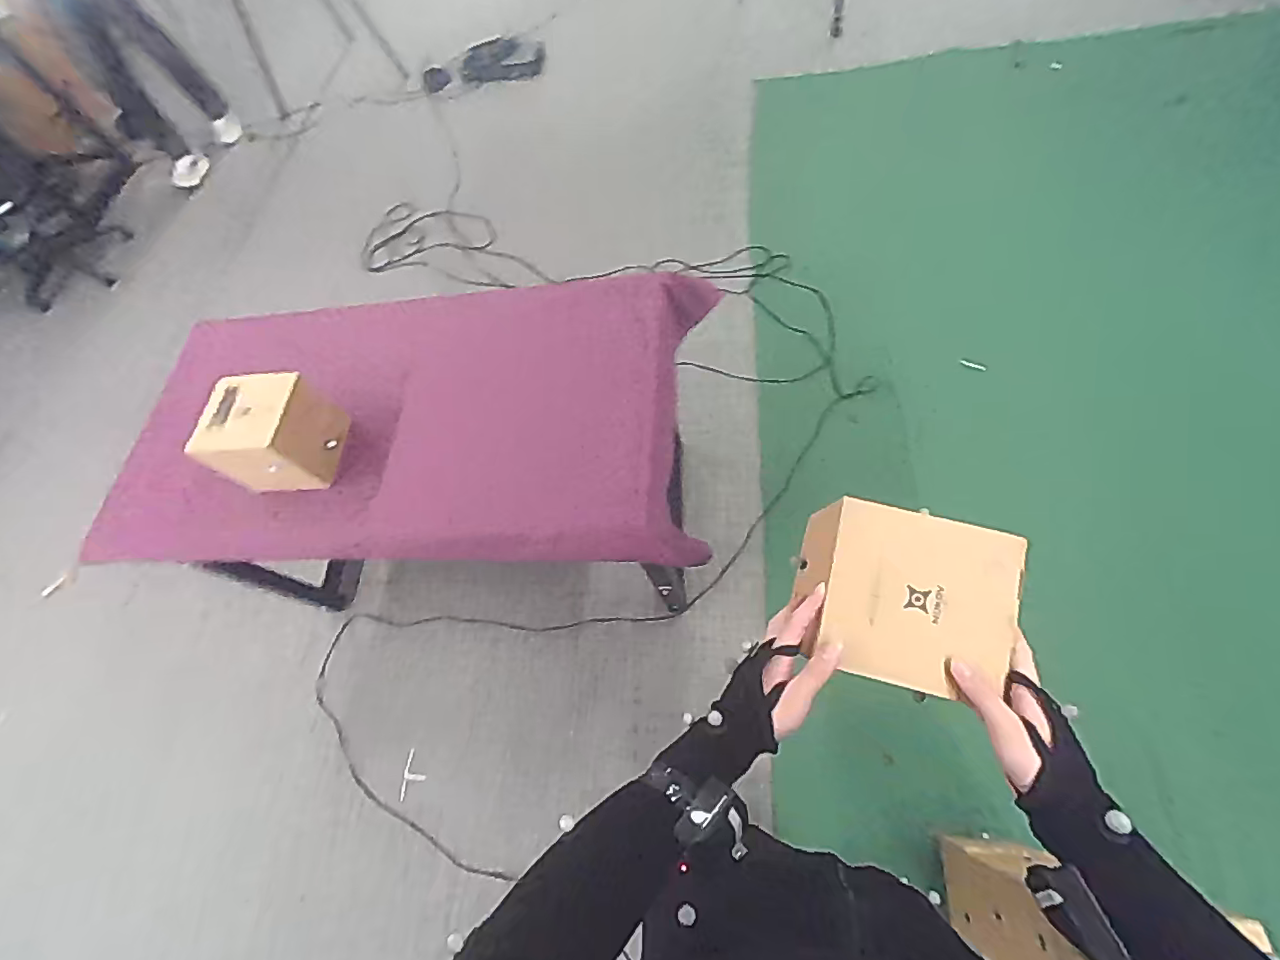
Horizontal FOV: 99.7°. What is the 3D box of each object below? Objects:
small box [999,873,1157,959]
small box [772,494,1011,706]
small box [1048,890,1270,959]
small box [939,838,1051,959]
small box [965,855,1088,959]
[{"bbox_3d":[0.689,0.725,0.831,0.168,0.176,0.179,-5,63,10],"label":"small box"},{"bbox_3d":[0.257,0.125,0.589,0.179,0.176,0.168,13,79,7],"label":"small box"},{"bbox_3d":[0.662,0.645,0.690,0.179,0.176,0.168,-3,63,11],"label":"small box"},{"bbox_3d":[0.743,0.866,1.120,0.168,0.176,0.179,0,64,11],"label":"small box"},{"bbox_3d":[0.716,0.800,0.974,0.168,0.176,0.179,-3,62,10],"label":"small box"}]
